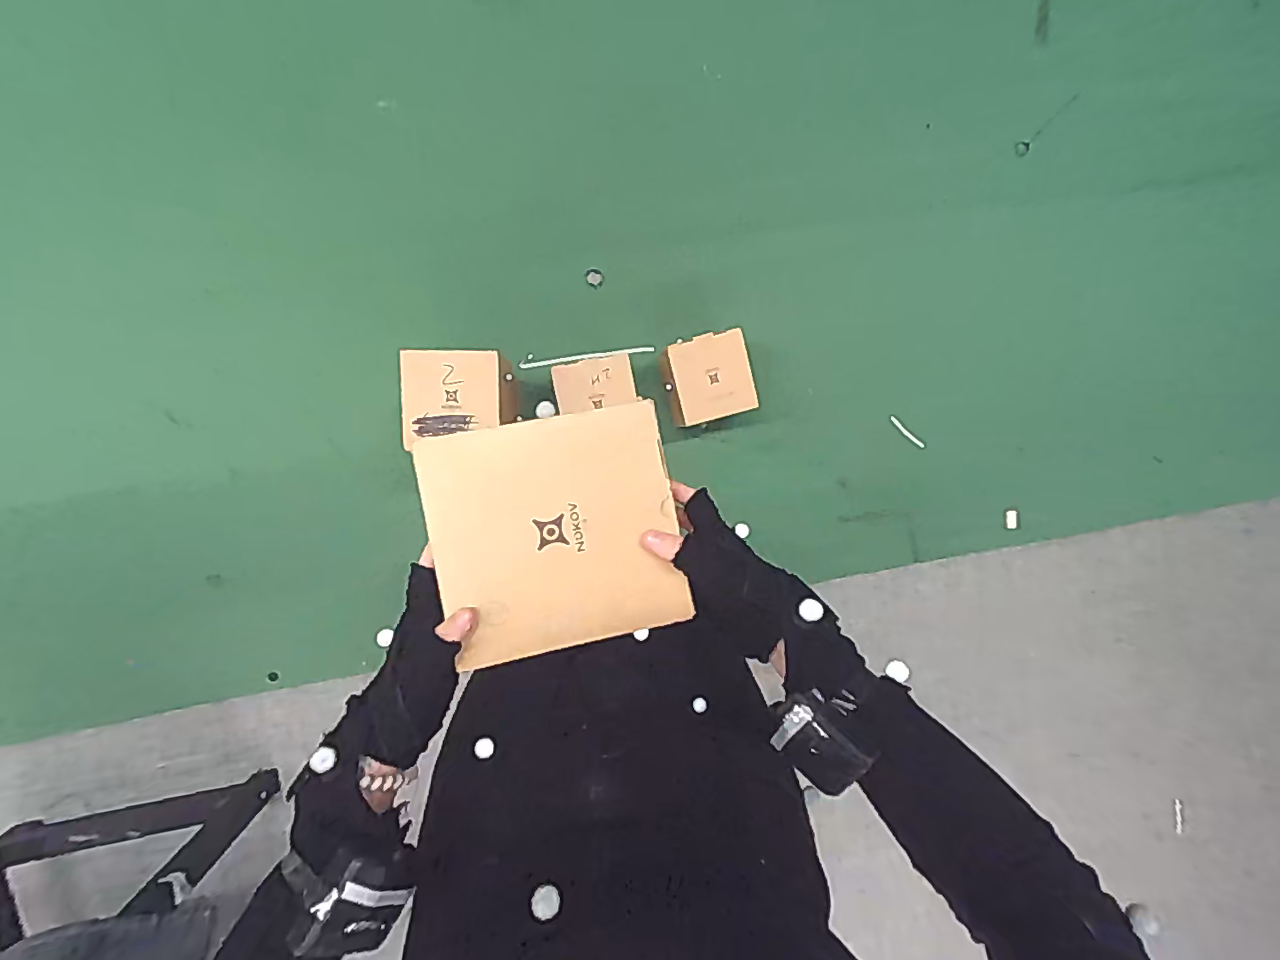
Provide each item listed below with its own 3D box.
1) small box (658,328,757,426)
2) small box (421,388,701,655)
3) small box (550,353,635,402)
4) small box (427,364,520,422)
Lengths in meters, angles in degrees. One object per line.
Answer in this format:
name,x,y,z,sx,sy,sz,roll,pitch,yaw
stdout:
small box,0.144,-0.224,1.216,0.168,0.176,0.179,-14,96,-5
small box,-0.065,0.031,0.459,0.179,0.176,0.168,-10,89,-10
small box,-0.097,-0.171,1.192,0.168,0.176,0.179,-11,95,-5
small box,-0.352,-0.147,1.166,0.168,0.176,0.179,2,95,-6
